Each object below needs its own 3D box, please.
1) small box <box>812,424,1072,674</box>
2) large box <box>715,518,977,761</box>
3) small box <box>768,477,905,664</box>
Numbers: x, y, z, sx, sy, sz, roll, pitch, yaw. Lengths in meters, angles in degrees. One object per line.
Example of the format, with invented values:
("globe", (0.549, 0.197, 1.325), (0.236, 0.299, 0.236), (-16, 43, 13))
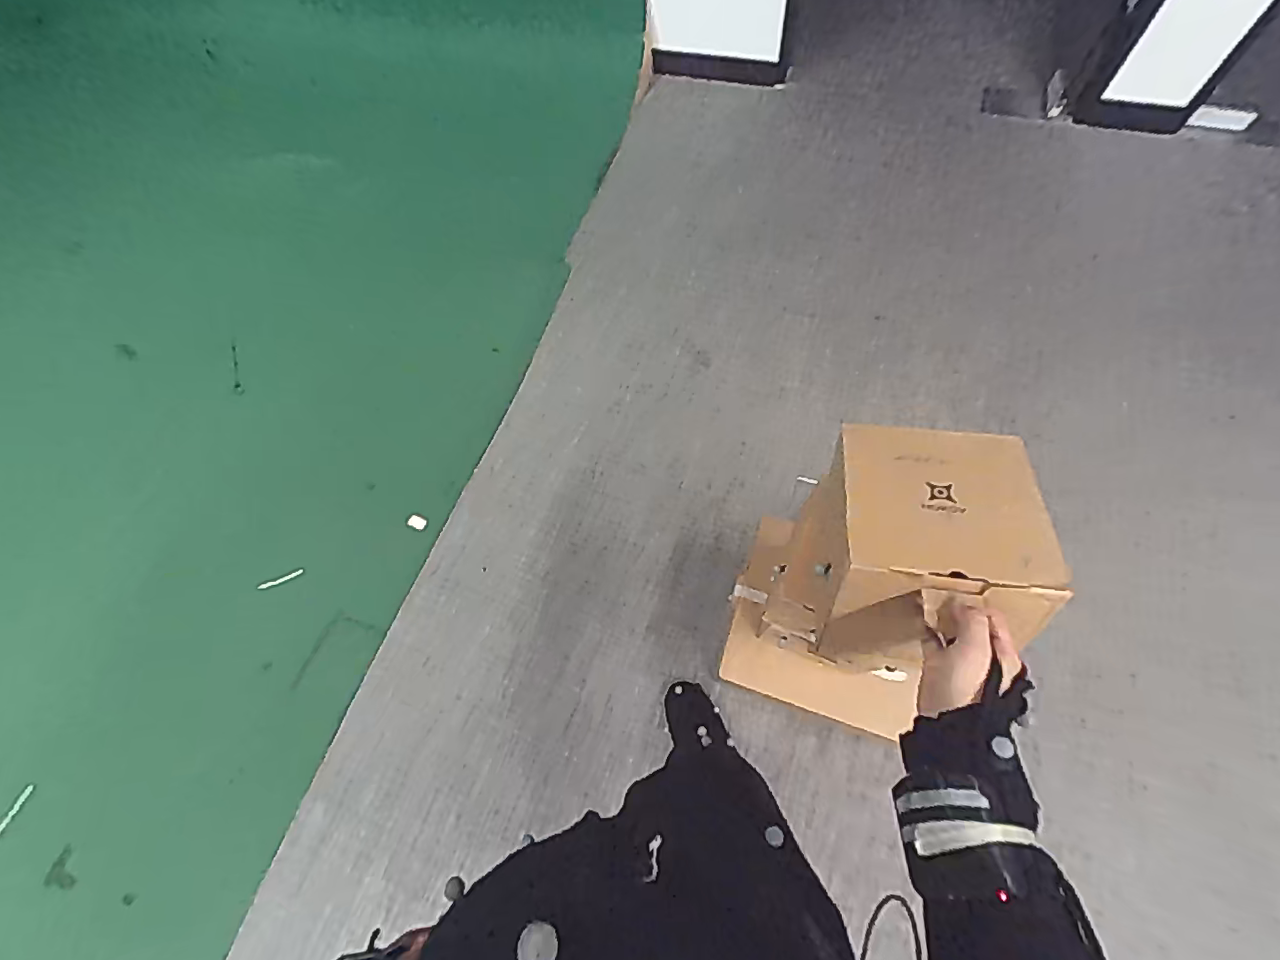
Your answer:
("small box", (0.269, 0.069, 0.533), (0.168, 0.176, 0.179), (6, 48, 10))
("large box", (0.383, 0.311, 1.069), (0.408, 0.320, 0.320), (16, 71, 11))
("small box", (0.279, 0.125, 0.714), (0.168, 0.176, 0.179), (21, 71, 14))
